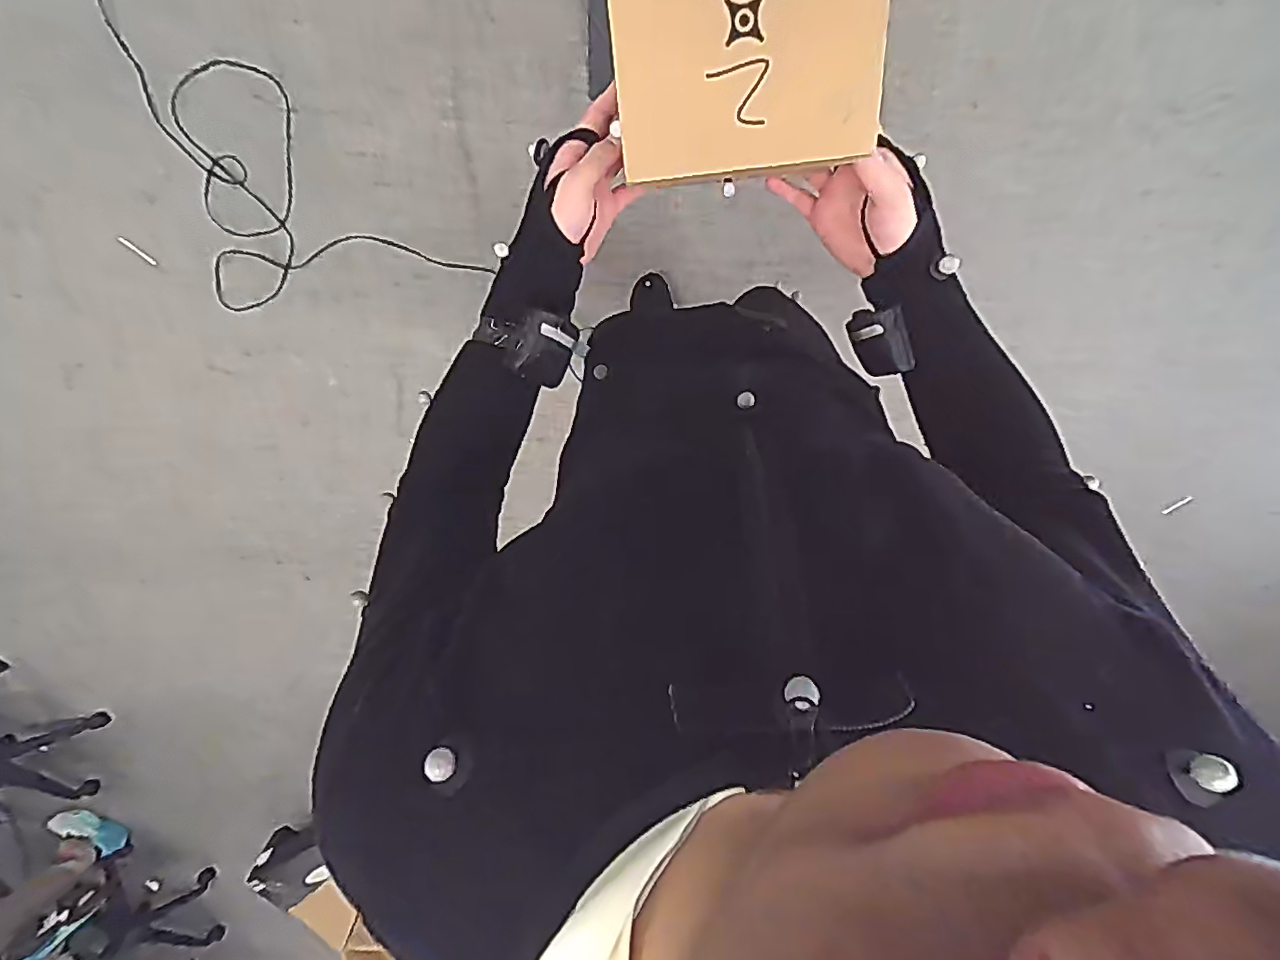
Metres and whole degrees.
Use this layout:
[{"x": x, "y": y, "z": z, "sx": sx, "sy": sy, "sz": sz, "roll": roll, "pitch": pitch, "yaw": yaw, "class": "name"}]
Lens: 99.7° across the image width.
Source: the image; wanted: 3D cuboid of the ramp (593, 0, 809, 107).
[{"x": 0.146, "y": -1.338, "z": 1.057, "sx": 0.509, "sy": 0.206, "sz": 0.991, "roll": -1, "pitch": 112, "yaw": -2, "class": "ramp"}]
